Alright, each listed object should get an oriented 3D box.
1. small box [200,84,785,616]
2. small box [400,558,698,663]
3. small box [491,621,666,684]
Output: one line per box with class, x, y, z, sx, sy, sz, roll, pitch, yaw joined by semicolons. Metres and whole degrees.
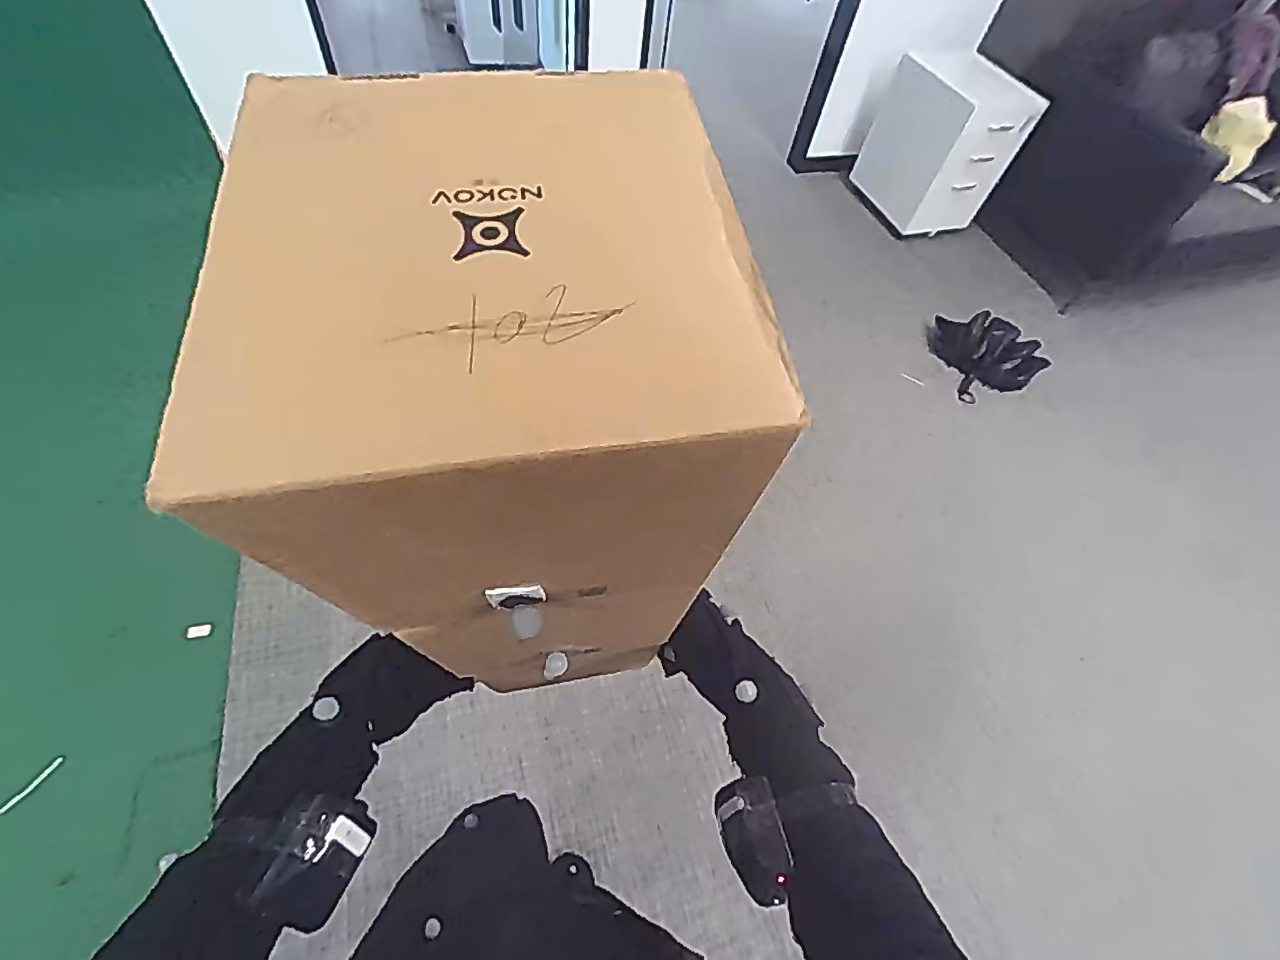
small box;-0.056;-0.050;0.260;0.168;0.176;0.179;-8;65;-8
small box;-0.067;0.023;0.403;0.168;0.176;0.179;-8;64;-9
small box;-0.078;0.094;0.552;0.168;0.176;0.179;-8;64;-8
